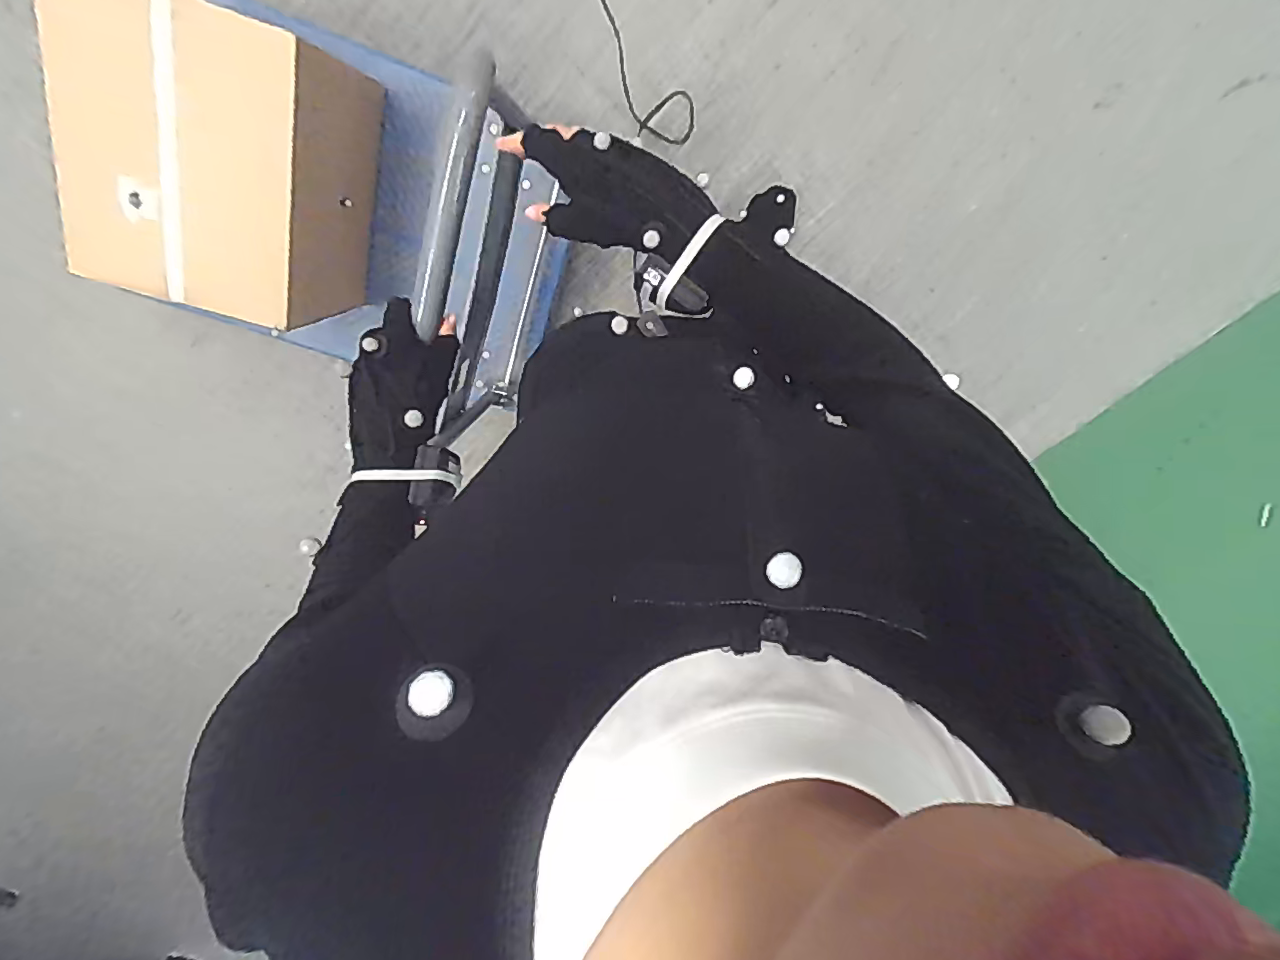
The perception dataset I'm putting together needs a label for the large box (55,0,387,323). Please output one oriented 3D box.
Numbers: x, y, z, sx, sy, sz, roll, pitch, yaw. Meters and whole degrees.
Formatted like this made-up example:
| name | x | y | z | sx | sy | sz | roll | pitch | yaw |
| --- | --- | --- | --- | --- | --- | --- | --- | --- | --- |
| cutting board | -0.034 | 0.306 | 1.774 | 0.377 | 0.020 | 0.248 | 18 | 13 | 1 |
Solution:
| name | x | y | z | sx | sy | sz | roll | pitch | yaw |
| --- | --- | --- | --- | --- | --- | --- | --- | --- | --- |
| large box | -0.645 | -0.527 | 0.901 | 0.320 | 0.320 | 0.408 | 15 | 114 | -10 |
